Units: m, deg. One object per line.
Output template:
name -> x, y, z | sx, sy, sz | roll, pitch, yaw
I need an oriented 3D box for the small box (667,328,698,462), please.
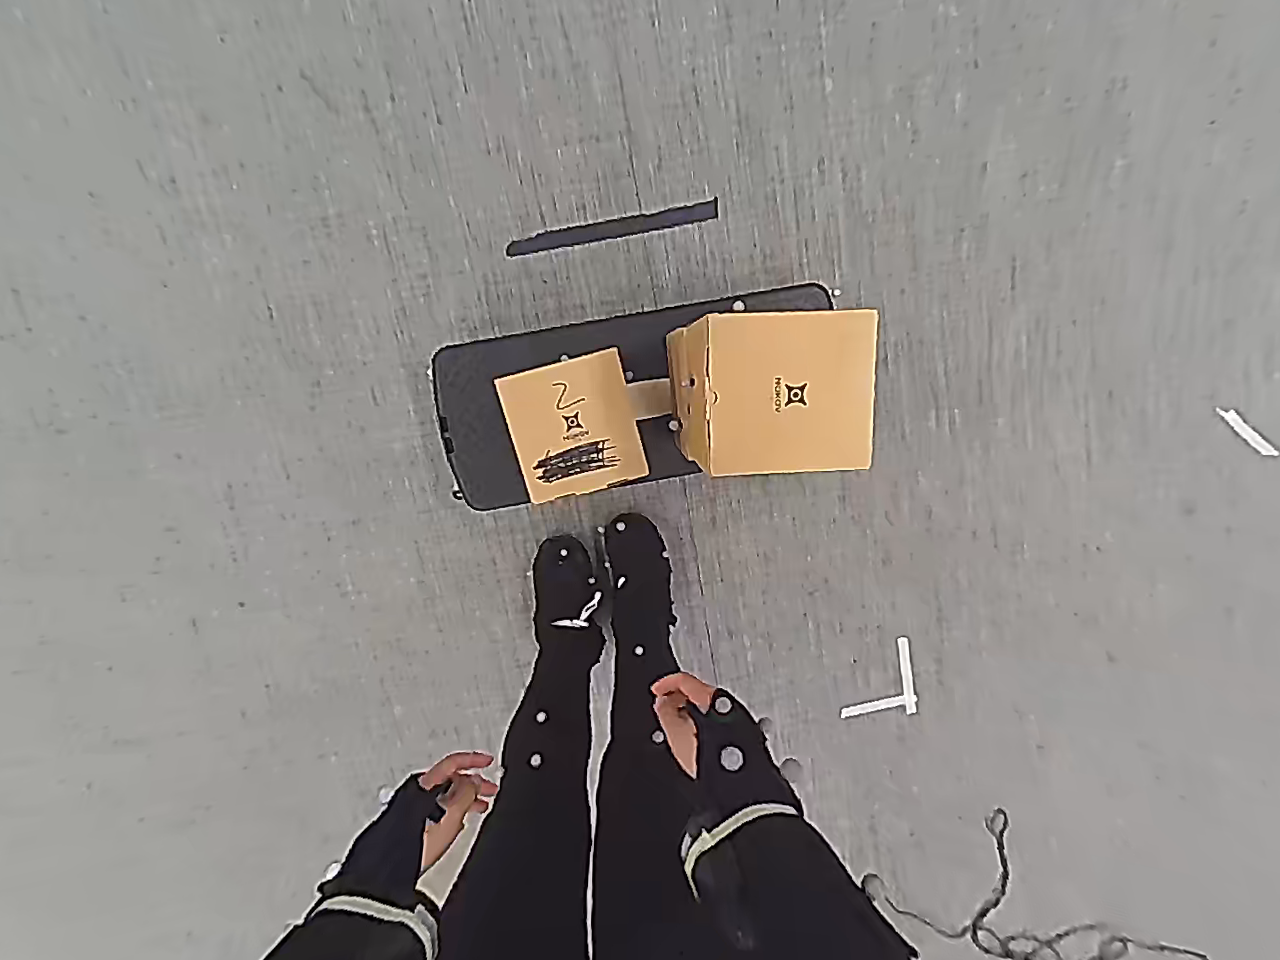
small box -> 0.133, -0.132, 0.789 | 0.168, 0.176, 0.179 | -6, 101, -1

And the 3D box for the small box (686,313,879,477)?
small box -> 0.151, -0.103, 0.629 | 0.179, 0.176, 0.168 | -3, 102, -1
